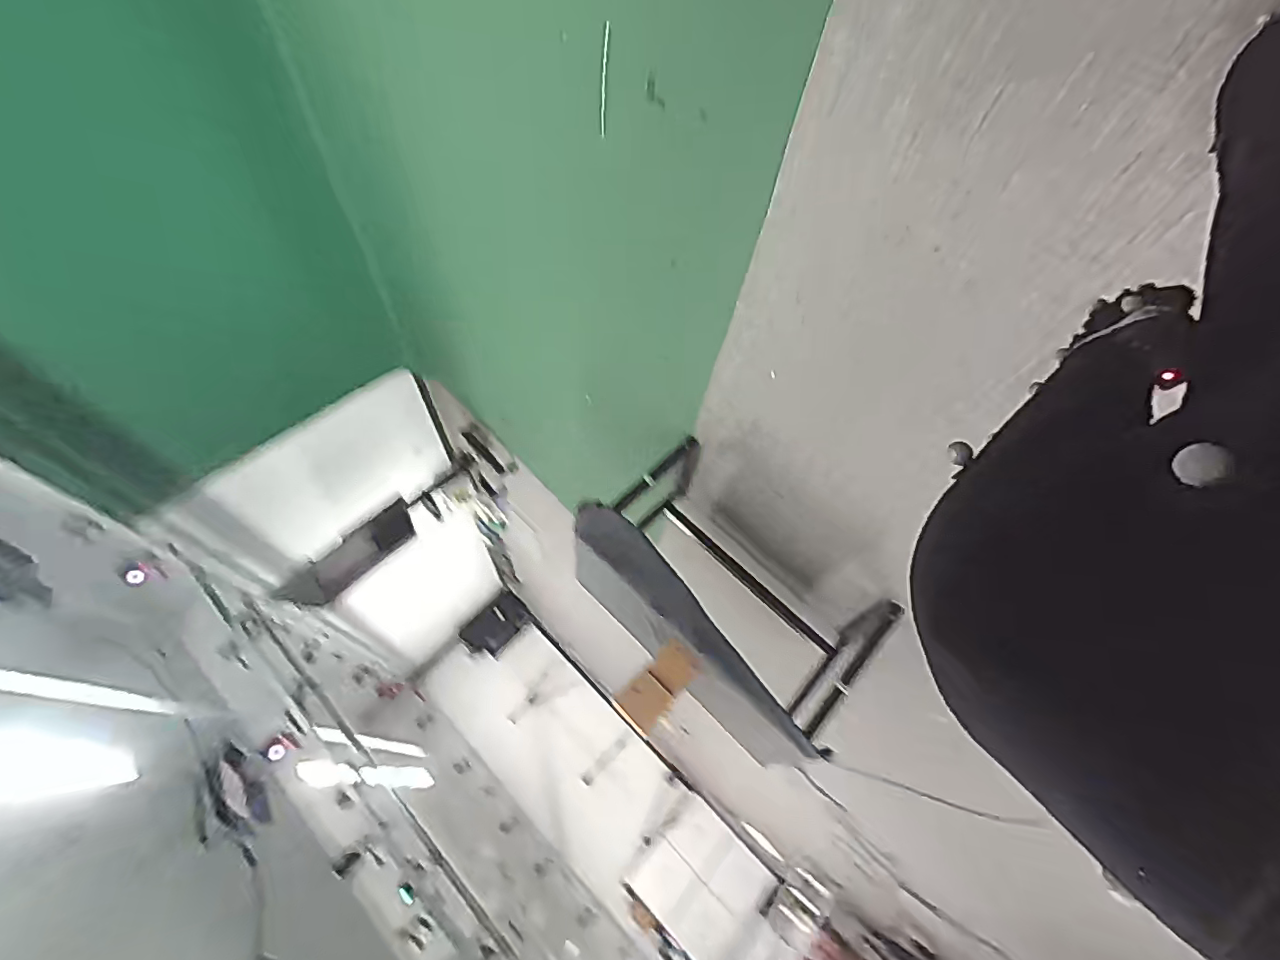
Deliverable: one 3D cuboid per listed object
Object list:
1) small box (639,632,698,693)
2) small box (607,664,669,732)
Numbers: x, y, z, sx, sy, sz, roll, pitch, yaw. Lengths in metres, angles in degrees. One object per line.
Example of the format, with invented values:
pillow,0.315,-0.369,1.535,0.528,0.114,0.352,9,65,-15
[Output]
small box,0.111,0.737,2.177,0.168,0.176,0.179,42,157,15
small box,-0.010,0.835,2.089,0.179,0.176,0.168,40,156,20
